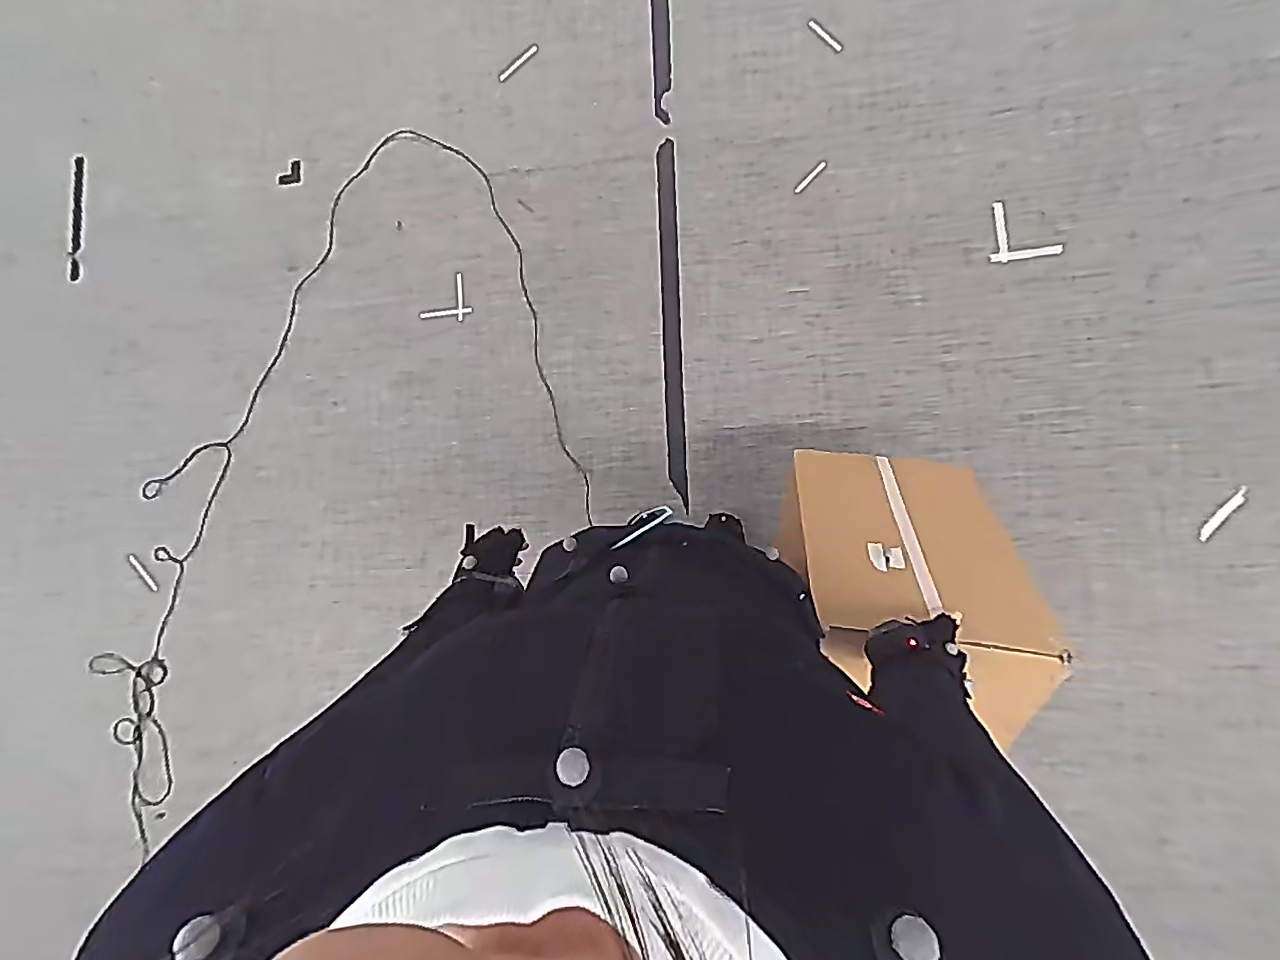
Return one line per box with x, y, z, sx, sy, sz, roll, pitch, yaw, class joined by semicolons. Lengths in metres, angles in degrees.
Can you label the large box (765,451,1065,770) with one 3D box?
0.395;0.200;0.918;0.320;0.408;0.320;5;129;8;large box
